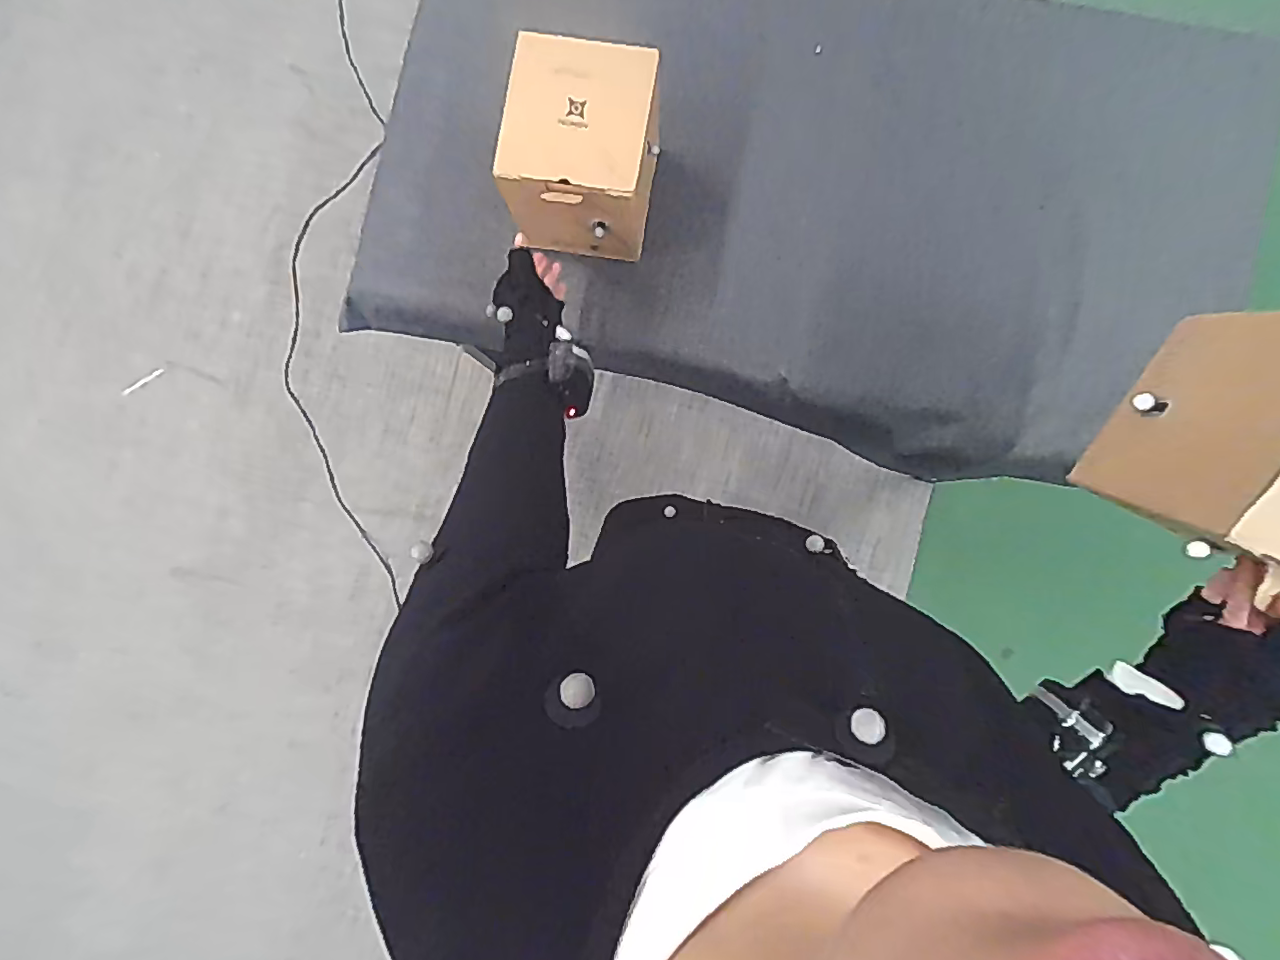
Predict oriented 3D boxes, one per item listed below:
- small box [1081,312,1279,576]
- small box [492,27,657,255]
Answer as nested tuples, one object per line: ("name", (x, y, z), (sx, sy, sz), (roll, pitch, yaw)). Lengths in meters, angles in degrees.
("small box", (0.526, -0.023, 0.446), (0.168, 0.176, 0.179), (25, 106, -3))
("small box", (-0.072, -0.413, 0.687), (0.168, 0.176, 0.179), (9, 86, 1))
